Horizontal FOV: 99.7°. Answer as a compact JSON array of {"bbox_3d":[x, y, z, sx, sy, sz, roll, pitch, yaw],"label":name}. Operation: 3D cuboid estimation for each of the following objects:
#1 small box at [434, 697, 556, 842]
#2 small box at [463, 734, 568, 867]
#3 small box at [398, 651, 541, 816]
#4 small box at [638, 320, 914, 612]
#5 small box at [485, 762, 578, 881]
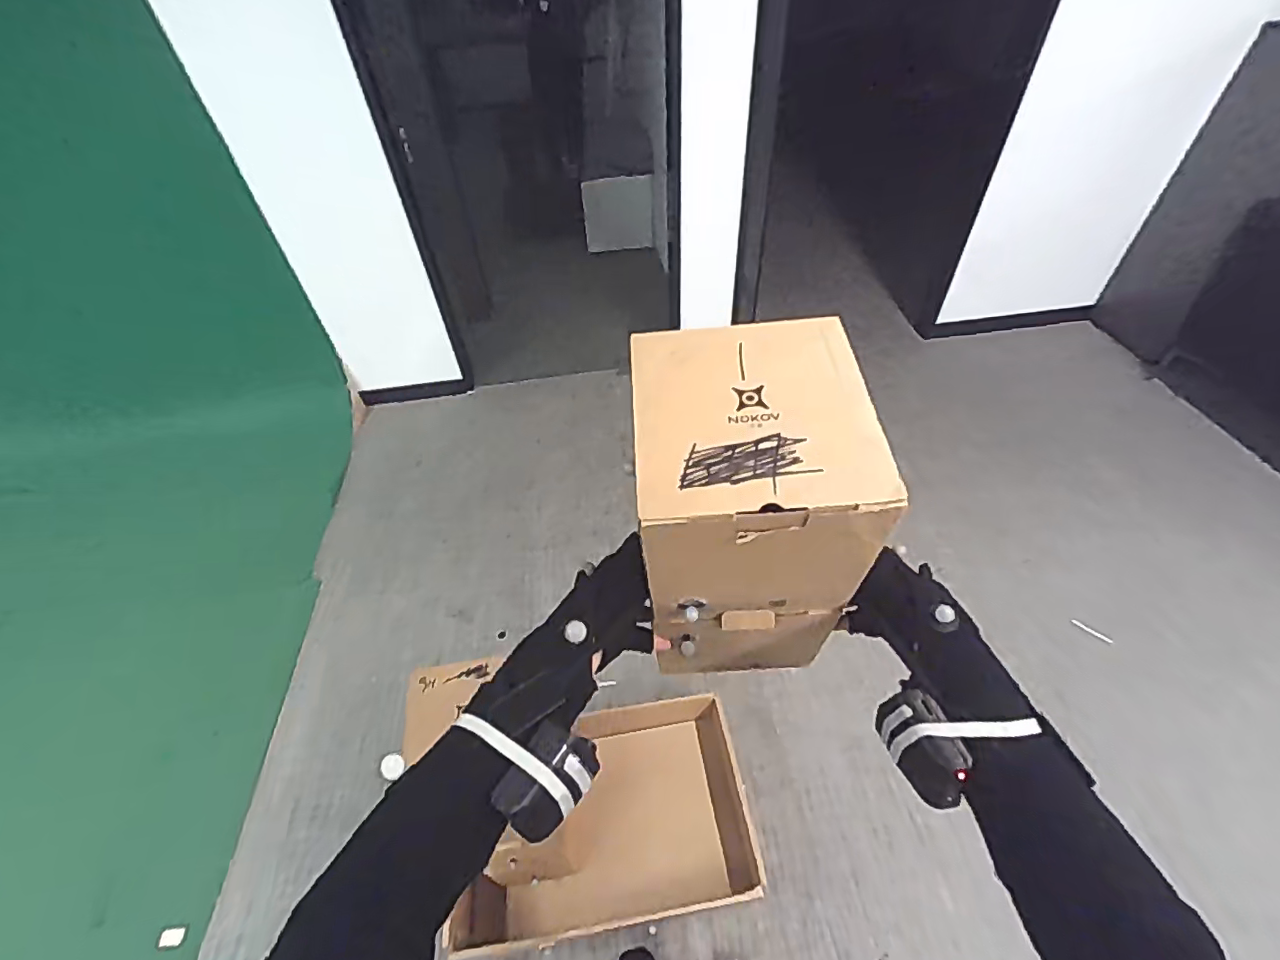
[{"bbox_3d":[-0.242,0.505,0.935,0.168,0.176,0.179,-8,46,-6],"label":"small box"},{"bbox_3d":[-0.233,0.622,1.049,0.168,0.176,0.179,-7,47,-5],"label":"small box"},{"bbox_3d":[-0.247,0.389,0.820,0.168,0.176,0.179,-8,47,-7],"label":"small box"},{"bbox_3d":[0.088,-0.002,0.432,0.168,0.176,0.179,-1,56,3],"label":"small box"},{"bbox_3d":[-0.227,0.736,1.165,0.168,0.176,0.179,-7,46,-3],"label":"small box"}]
